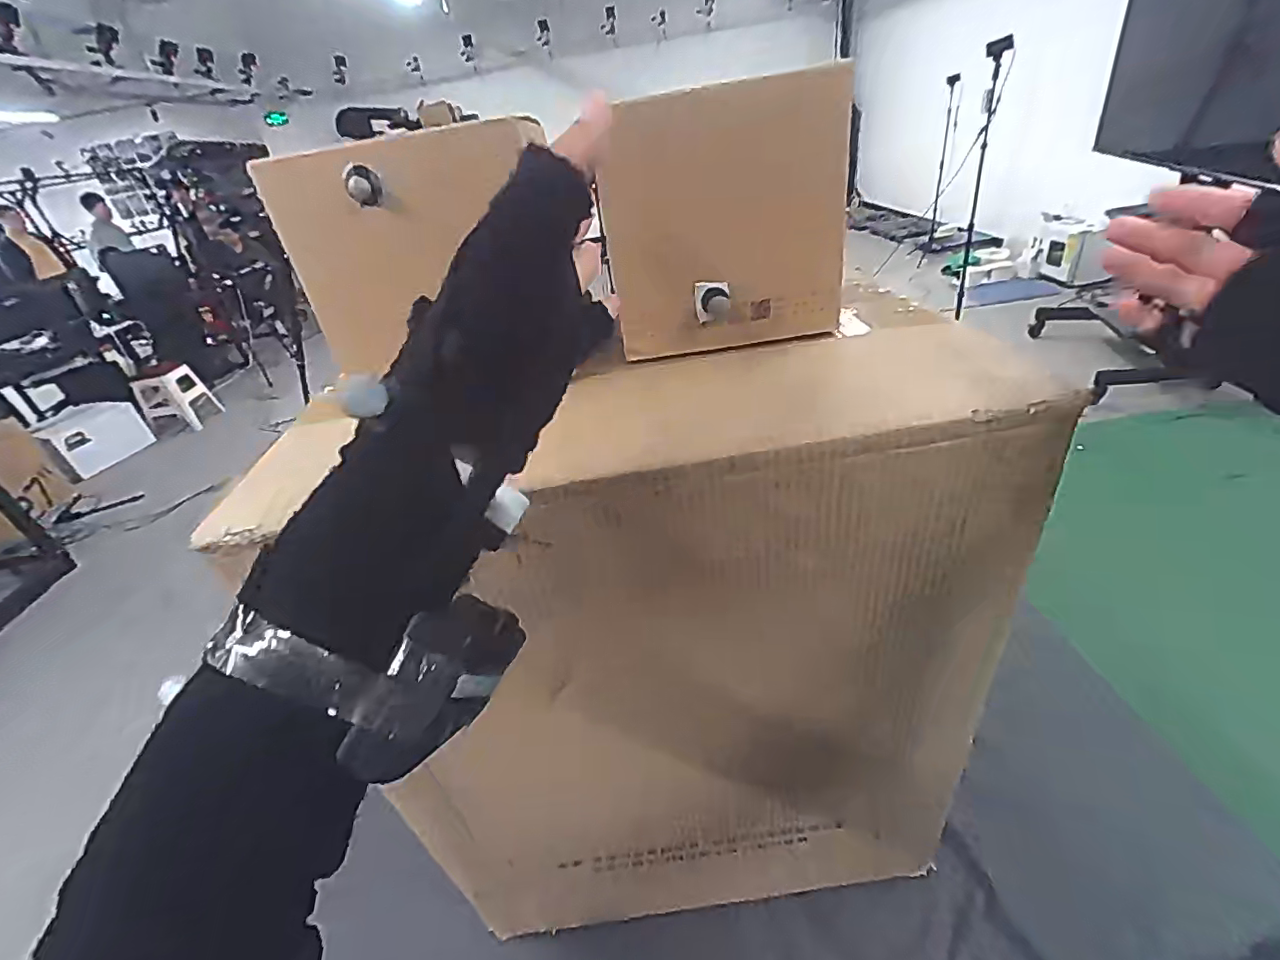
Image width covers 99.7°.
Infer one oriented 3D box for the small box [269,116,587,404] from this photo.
[{"bbox_3d":[-0.142,-0.178,0.441,0.168,0.176,0.179,-10,31,2],"label":"small box"}]
